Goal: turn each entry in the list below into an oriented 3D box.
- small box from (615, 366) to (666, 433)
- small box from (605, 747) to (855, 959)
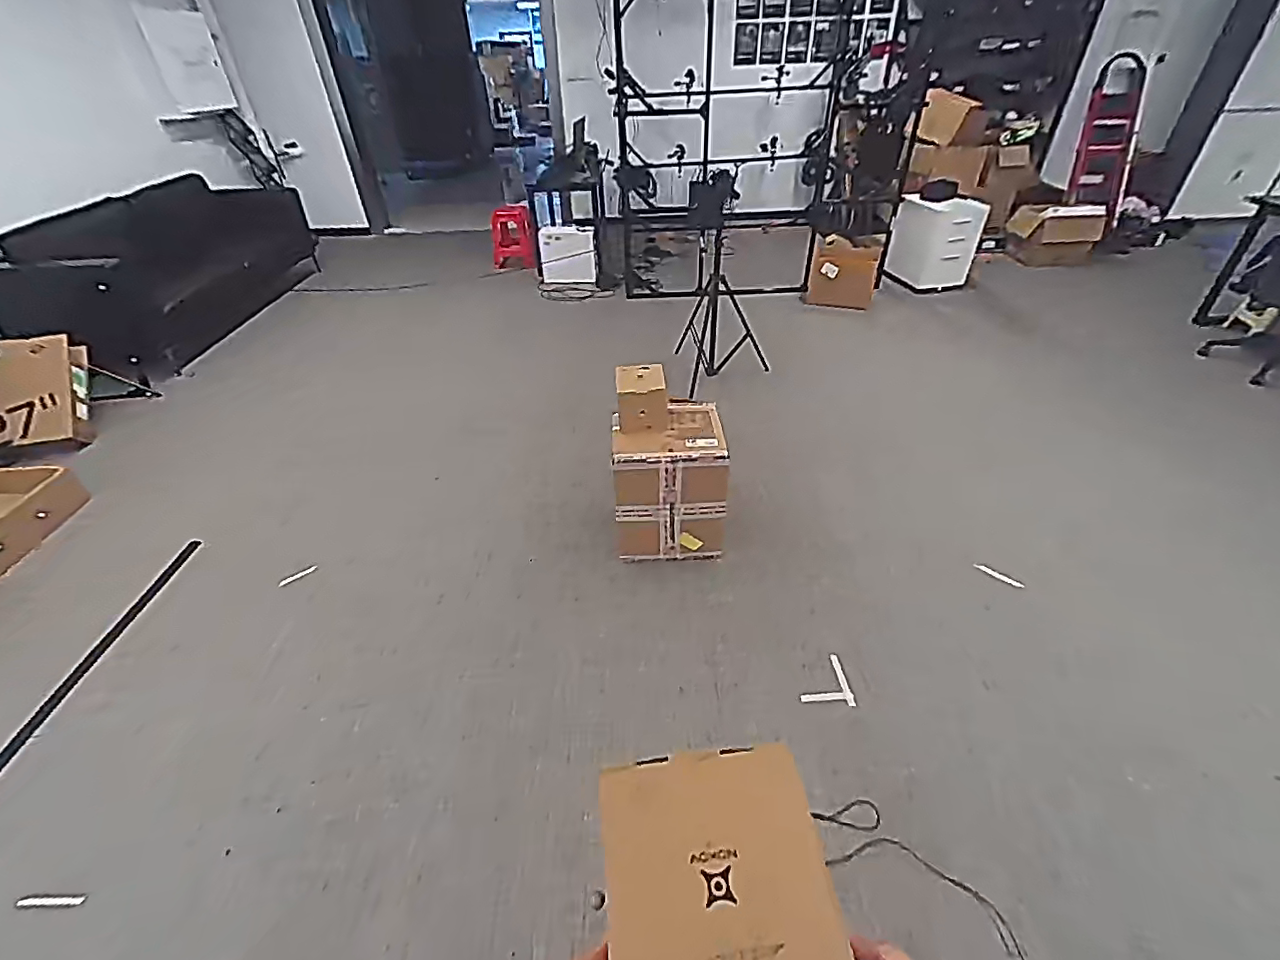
[{"bbox_3d":[0.001,-0.278,1.898,0.168,0.176,0.179,-4,42,0],"label":"small box"},{"bbox_3d":[0.057,0.350,0.449,0.168,0.176,0.179,-5,45,-4],"label":"small box"}]
